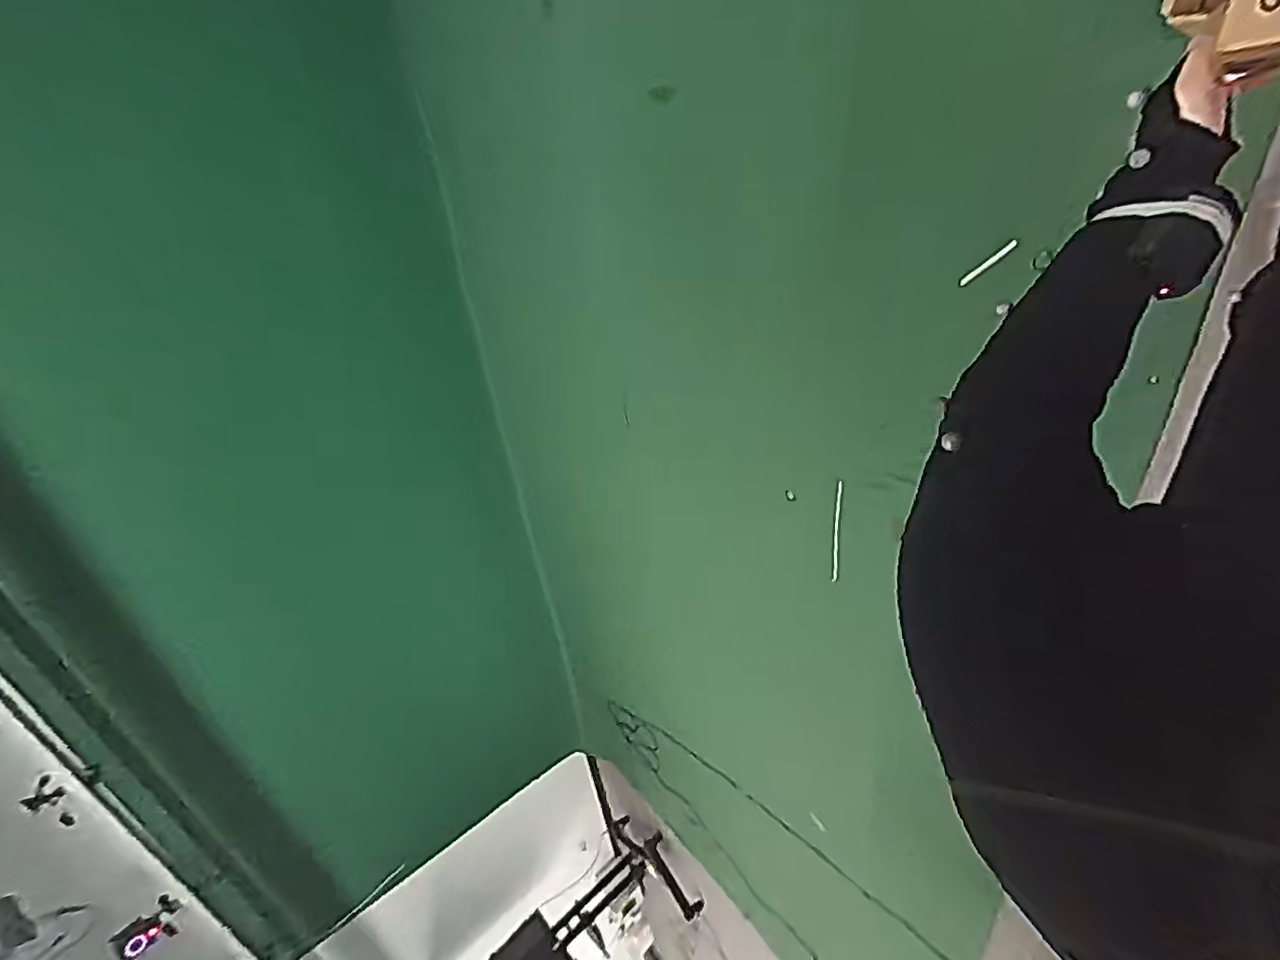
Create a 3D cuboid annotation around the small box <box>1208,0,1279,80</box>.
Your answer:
[{"bbox_3d":[0.478,-0.351,0.309,0.179,0.176,0.168,20,125,40],"label":"small box"}]
